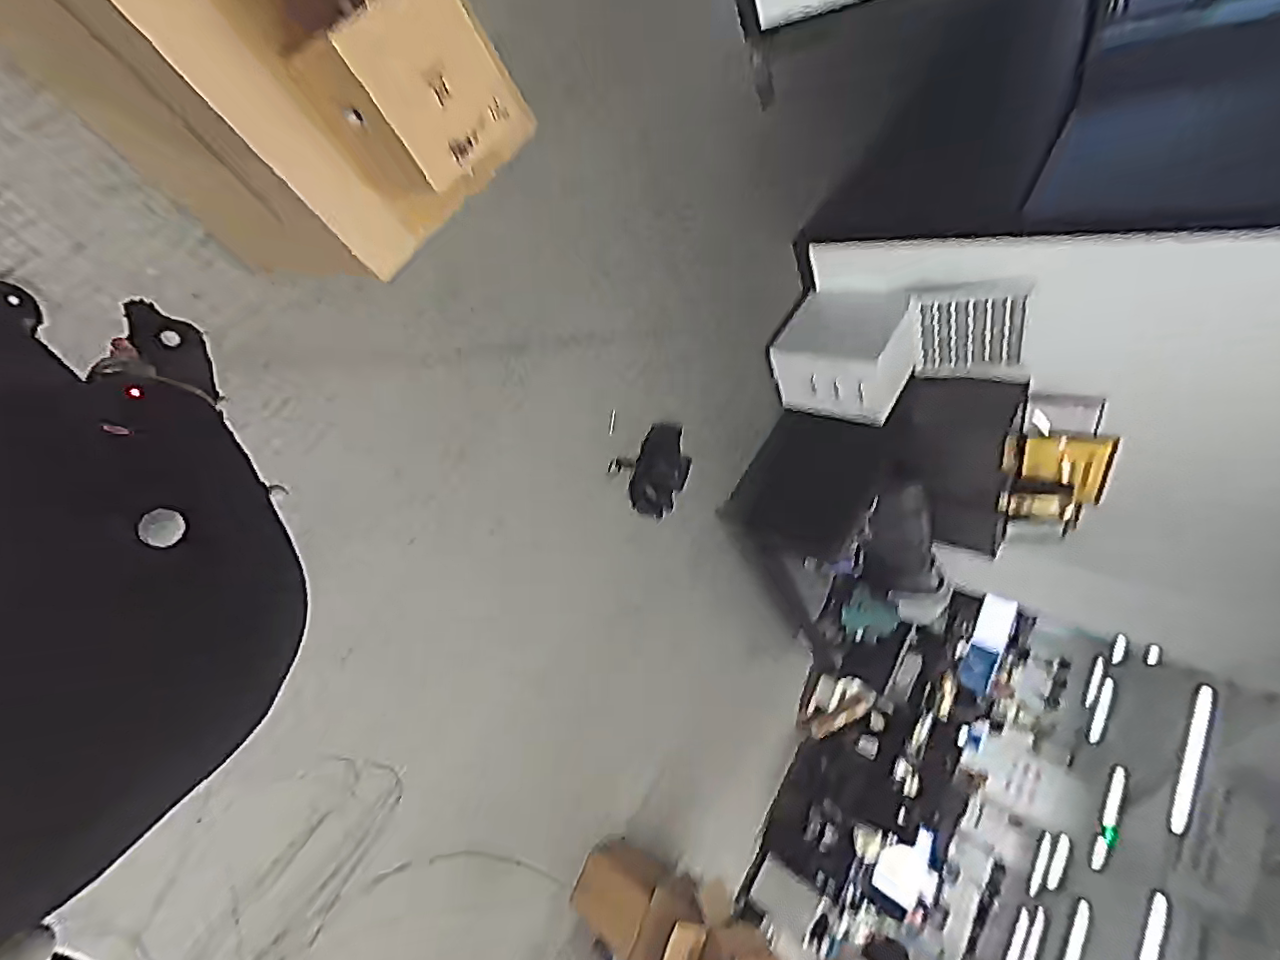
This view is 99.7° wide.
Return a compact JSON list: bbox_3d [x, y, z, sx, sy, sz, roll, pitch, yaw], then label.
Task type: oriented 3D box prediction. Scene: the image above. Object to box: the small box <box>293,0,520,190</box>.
[{"bbox_3d":[-0.297,-0.499,0.691,0.168,0.176,0.179,-52,138,-16],"label":"small box"}]
